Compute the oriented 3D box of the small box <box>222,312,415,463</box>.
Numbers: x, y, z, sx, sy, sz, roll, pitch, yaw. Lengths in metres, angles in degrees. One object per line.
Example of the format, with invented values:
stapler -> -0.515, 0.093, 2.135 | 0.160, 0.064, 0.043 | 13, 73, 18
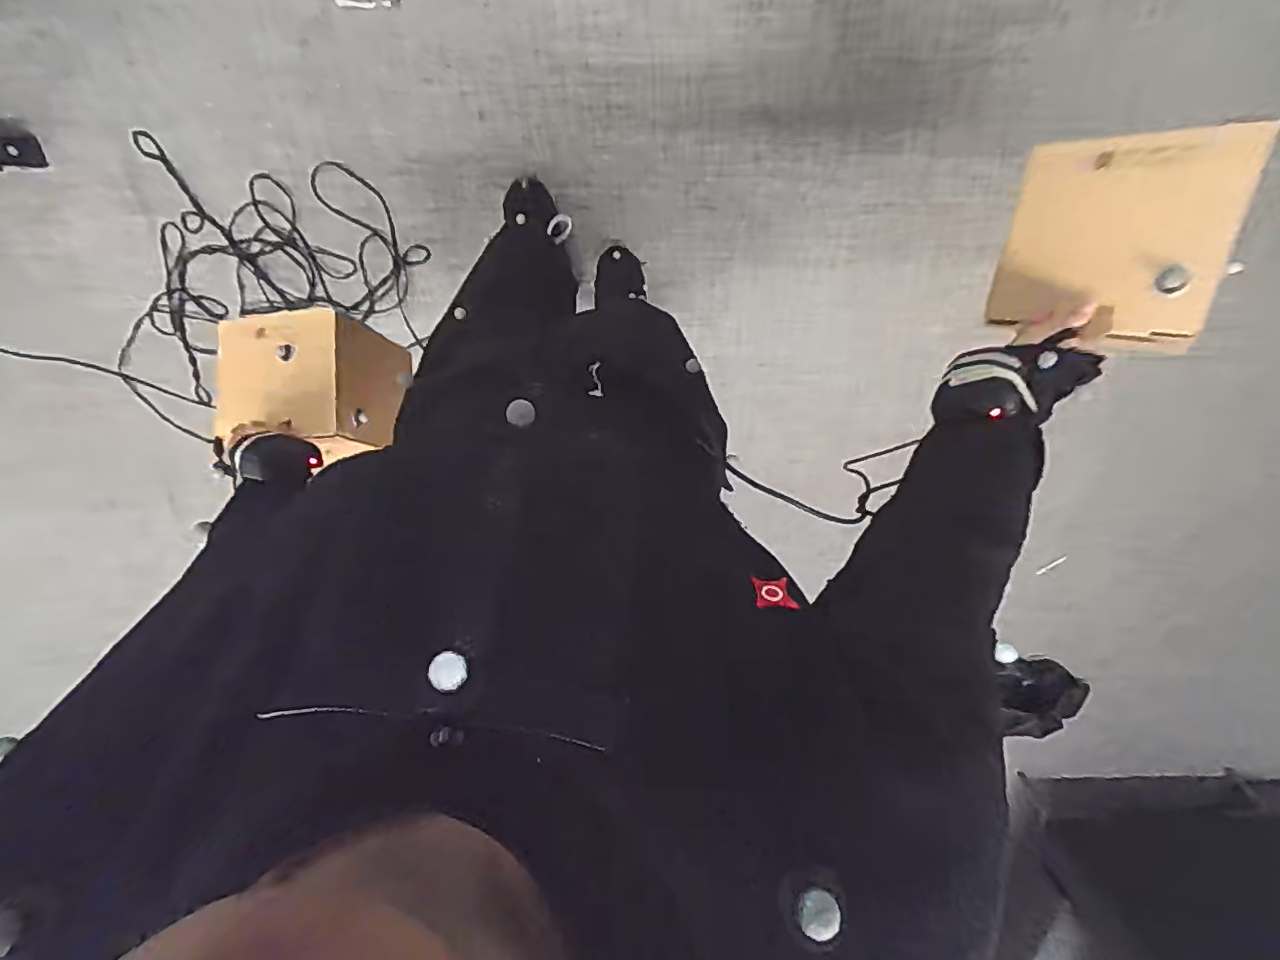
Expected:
small box -> -0.436, -0.120, 0.755 | 0.168, 0.179, 0.176 | -5, 86, 9
